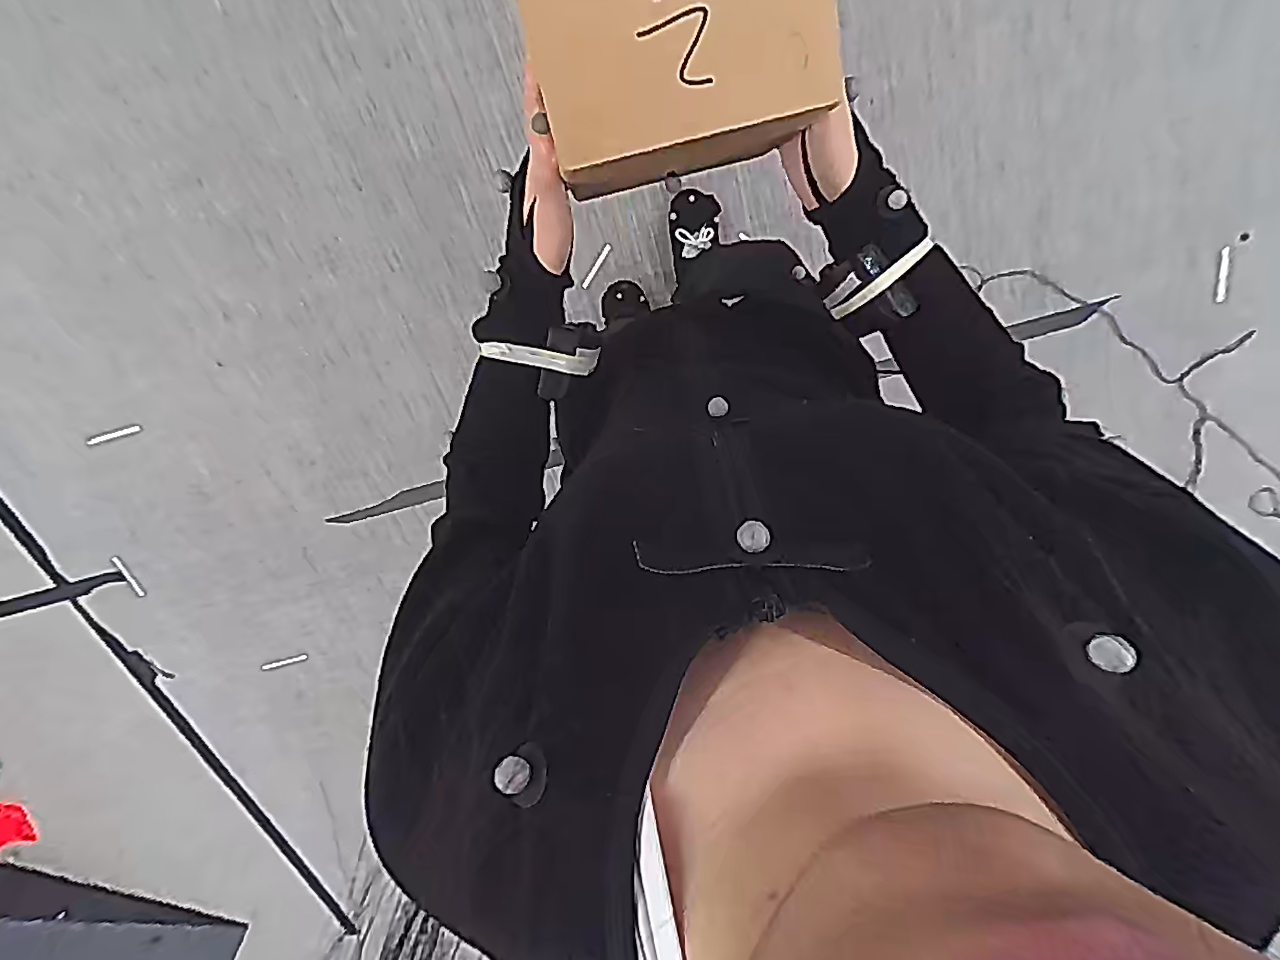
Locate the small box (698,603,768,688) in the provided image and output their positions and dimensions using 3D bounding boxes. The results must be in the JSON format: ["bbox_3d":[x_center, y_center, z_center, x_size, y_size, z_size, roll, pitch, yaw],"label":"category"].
[{"bbox_3d":[0.283,0.502,1.670,0.168,0.176,0.179,-14,113,4],"label":"small box"}]

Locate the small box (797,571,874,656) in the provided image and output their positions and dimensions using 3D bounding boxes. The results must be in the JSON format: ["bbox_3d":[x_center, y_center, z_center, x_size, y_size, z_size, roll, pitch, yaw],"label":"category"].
[{"bbox_3d":[0.587,0.394,1.639,0.168,0.176,0.179,-15,113,3],"label":"small box"}]
